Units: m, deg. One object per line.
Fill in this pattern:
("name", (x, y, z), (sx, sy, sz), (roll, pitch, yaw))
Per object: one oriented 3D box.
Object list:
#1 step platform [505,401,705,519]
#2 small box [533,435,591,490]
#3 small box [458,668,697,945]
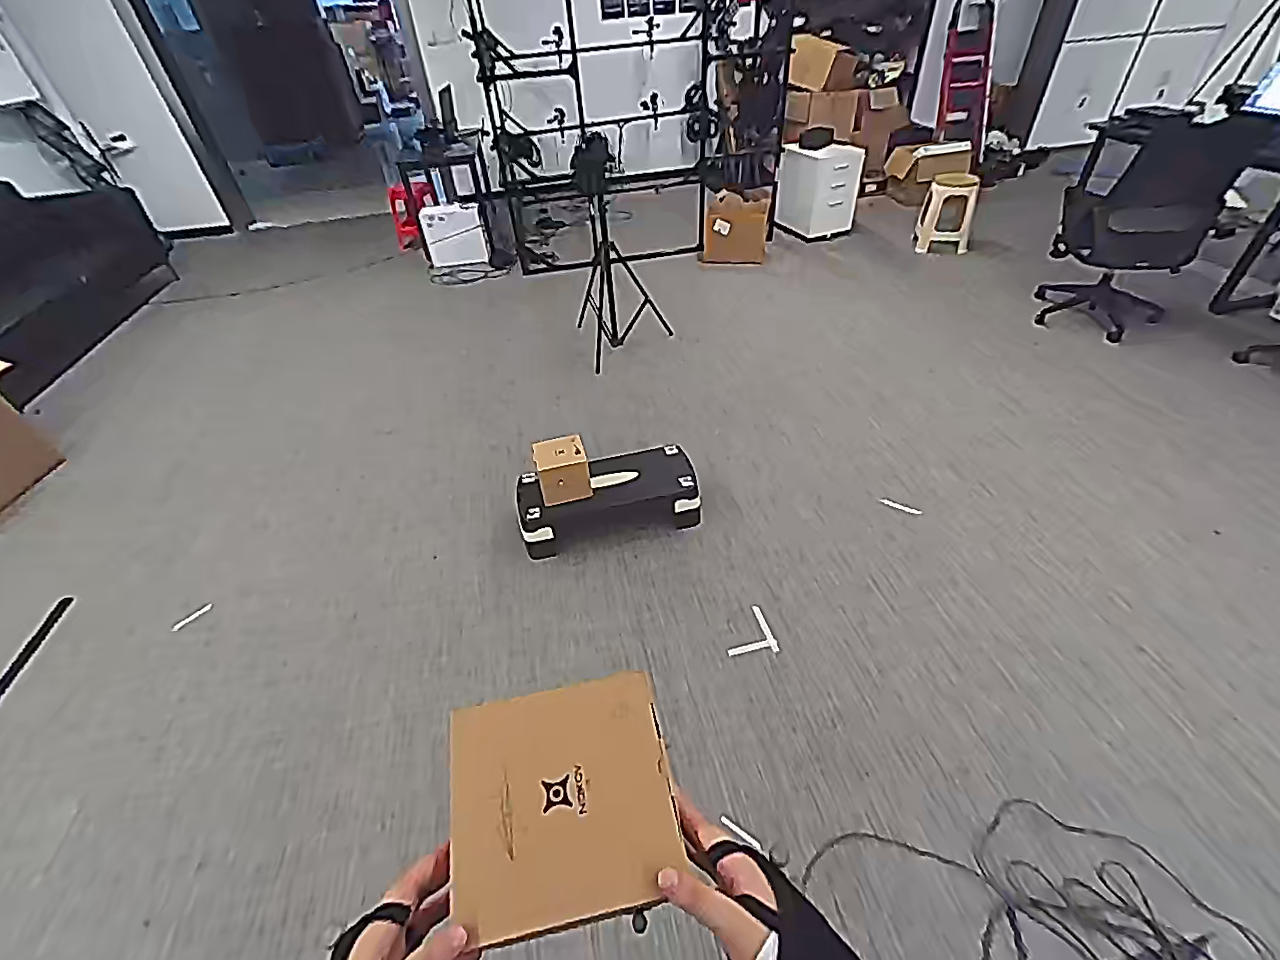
("step platform", (-0.119, -0.072, 1.926), (0.684, 0.204, 0.286), (-11, 41, -8))
("small box", (-0.279, -0.034, 1.955), (0.179, 0.176, 0.168), (-14, 42, -9))
("small box", (-0.058, 0.299, 0.499), (0.179, 0.176, 0.168), (-11, 50, -7))
